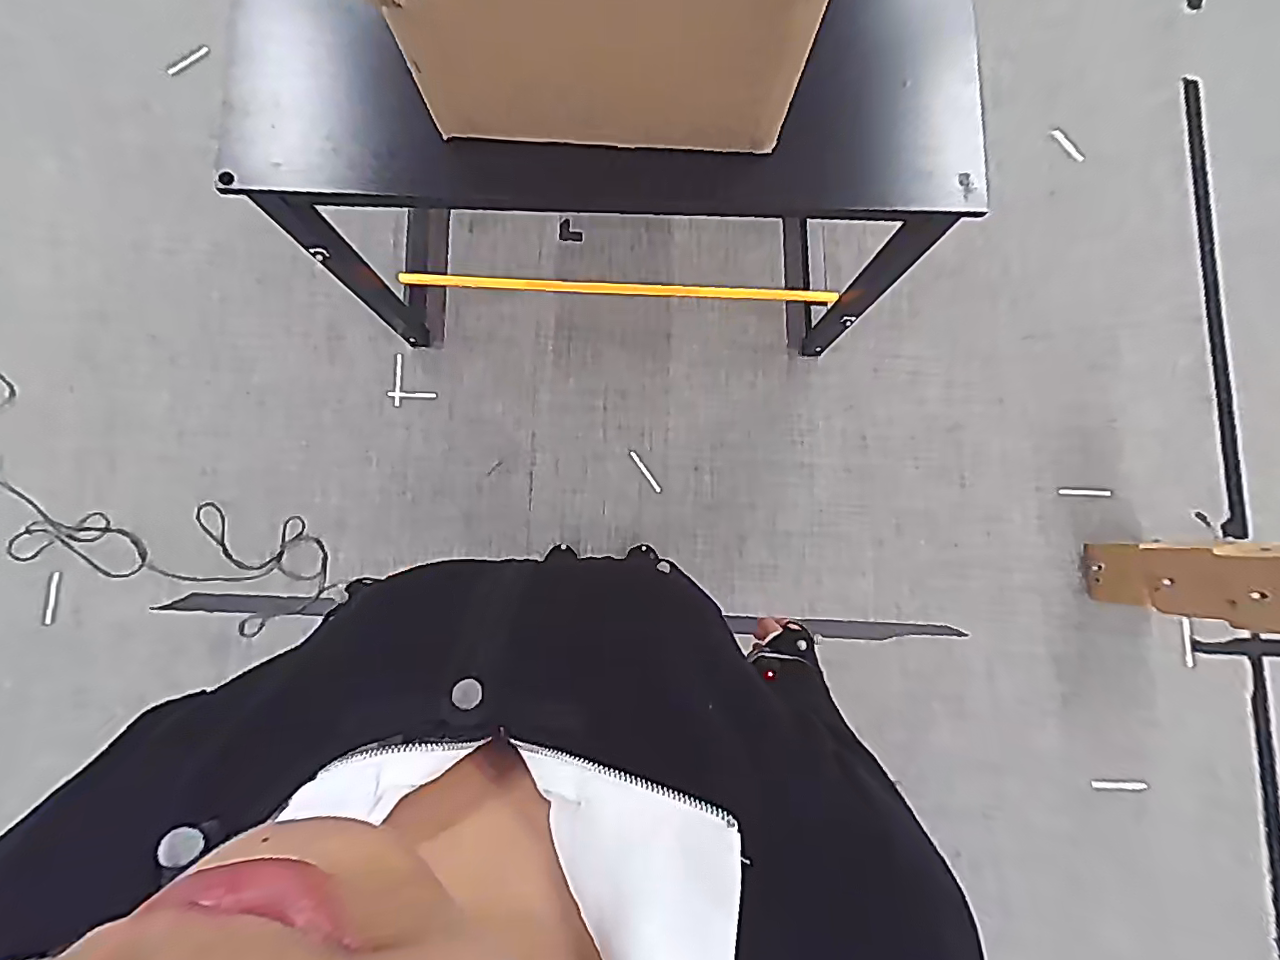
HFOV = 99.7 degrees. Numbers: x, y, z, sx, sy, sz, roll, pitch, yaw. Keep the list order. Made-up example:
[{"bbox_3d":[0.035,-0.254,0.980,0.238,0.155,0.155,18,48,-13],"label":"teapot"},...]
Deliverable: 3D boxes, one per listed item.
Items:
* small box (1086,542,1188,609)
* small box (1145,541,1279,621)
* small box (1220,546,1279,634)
[{"bbox_3d":[1.358,0.252,1.452,0.179,0.176,0.168,-2,82,-1],"label":"small box"},{"bbox_3d":[1.376,0.235,1.288,0.179,0.176,0.168,-6,82,-2],"label":"small box"},{"bbox_3d":[1.376,0.227,1.124,0.179,0.176,0.168,-8,83,-2],"label":"small box"}]
